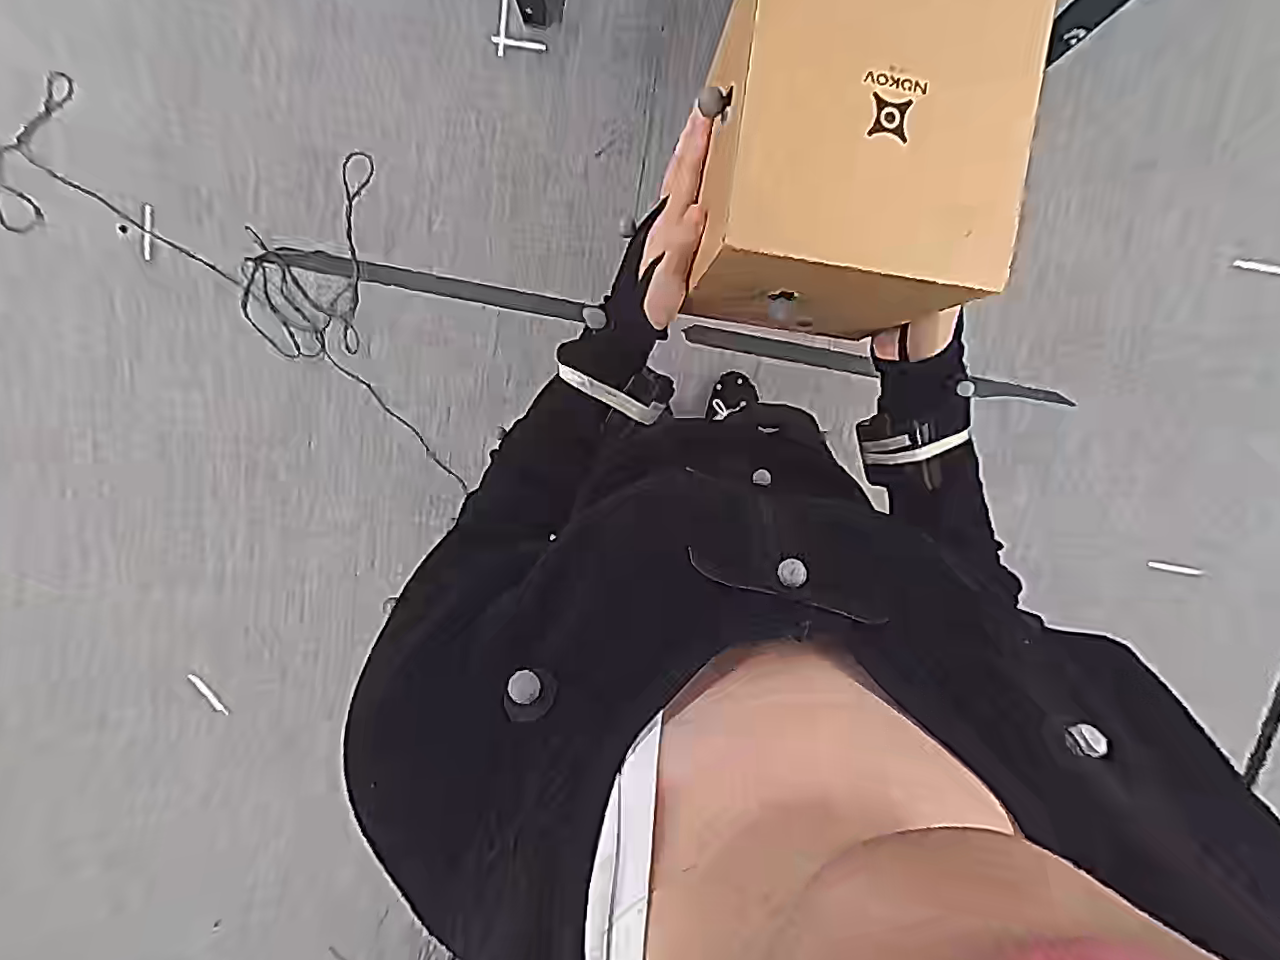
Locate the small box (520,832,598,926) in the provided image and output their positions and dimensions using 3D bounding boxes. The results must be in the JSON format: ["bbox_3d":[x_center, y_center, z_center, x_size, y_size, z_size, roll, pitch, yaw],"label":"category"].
[{"bbox_3d":[-0.196,0.996,1.297,0.168,0.176,0.179,7,99,0],"label":"small box"}]

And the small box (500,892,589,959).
[{"bbox_3d":[-0.203,1.017,1.137,0.168,0.176,0.179,6,100,1],"label":"small box"}]

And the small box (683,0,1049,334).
[{"bbox_3d":[0.129,-0.210,0.377,0.168,0.176,0.179,6,93,-6],"label":"small box"}]
